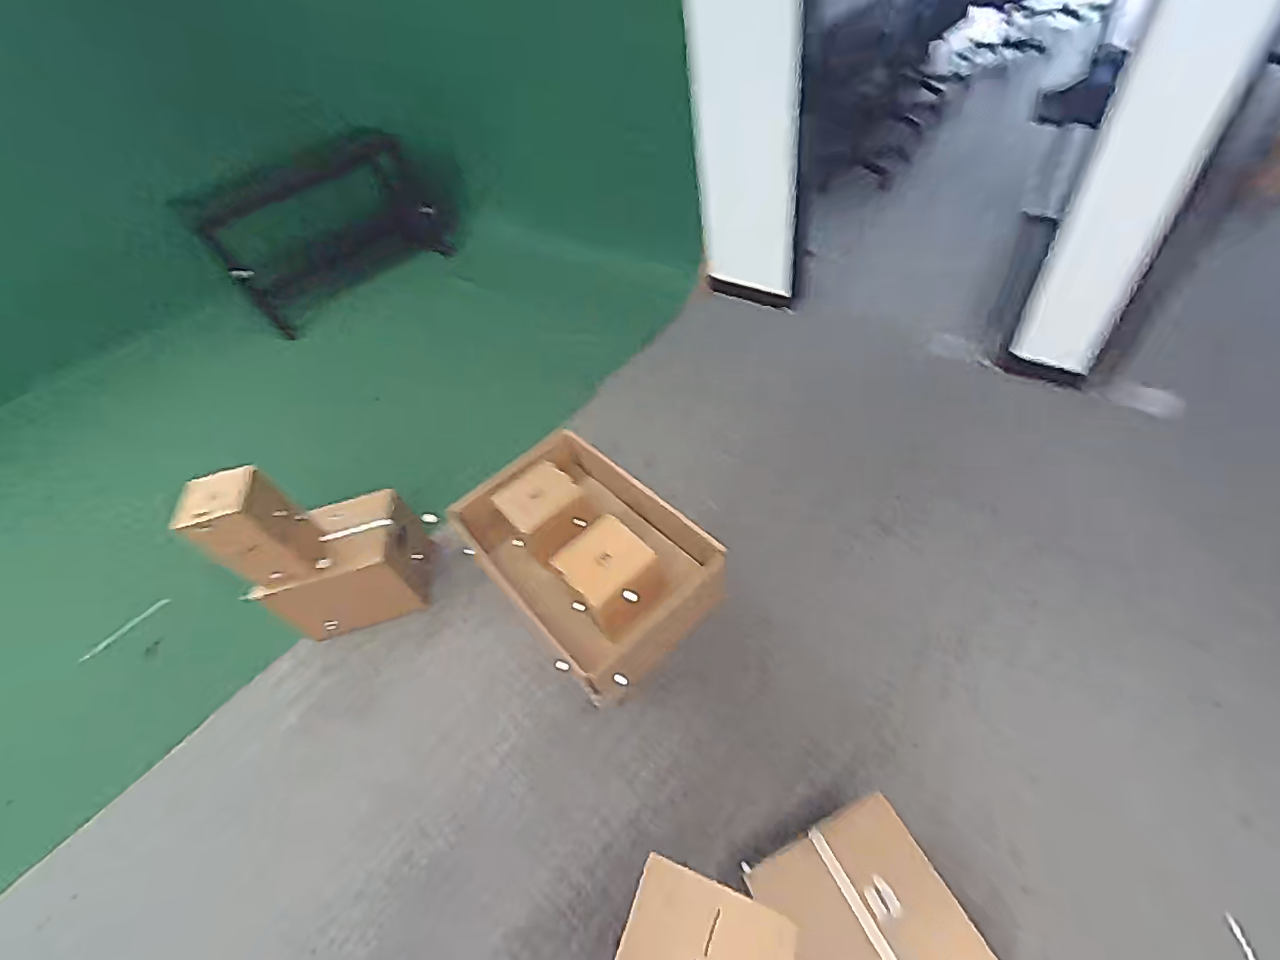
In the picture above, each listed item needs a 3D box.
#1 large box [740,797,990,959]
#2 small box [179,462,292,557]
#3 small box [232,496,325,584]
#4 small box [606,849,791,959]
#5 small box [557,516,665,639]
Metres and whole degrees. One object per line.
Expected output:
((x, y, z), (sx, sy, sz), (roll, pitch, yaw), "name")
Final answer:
((0.428, 0.897, 1.001), (0.320, 0.320, 0.408), (-24, 48, -10), "large box")
((-1.100, 0.083, 1.489), (0.168, 0.176, 0.179), (-16, 48, -3), "small box")
((-1.077, 0.182, 1.619), (0.168, 0.176, 0.179), (-16, 49, -2), "small box")
((0.045, 0.532, 0.564), (0.168, 0.176, 0.179), (16, 46, 13), "small box")
((-0.058, 0.223, 1.226), (0.179, 0.176, 0.168), (-38, 52, -19), "small box")
